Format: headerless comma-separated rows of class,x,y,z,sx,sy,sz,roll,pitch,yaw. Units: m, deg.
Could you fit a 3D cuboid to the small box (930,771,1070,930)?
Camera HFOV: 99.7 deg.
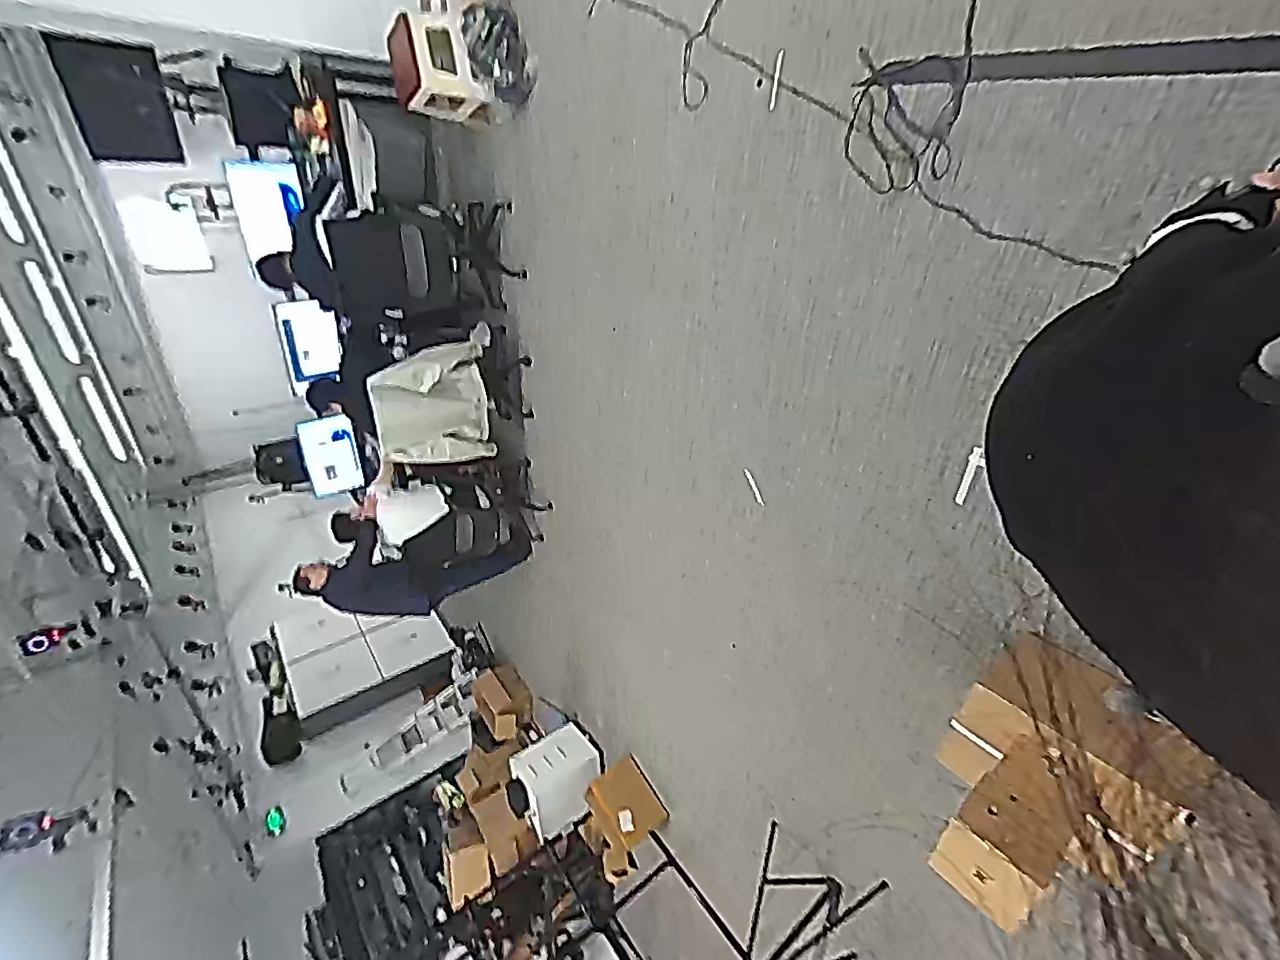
small box,0.737,0.746,1.107,0.168,0.176,0.179,33,131,44

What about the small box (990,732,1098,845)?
small box,0.867,0.709,1.198,0.168,0.176,0.179,33,130,42
